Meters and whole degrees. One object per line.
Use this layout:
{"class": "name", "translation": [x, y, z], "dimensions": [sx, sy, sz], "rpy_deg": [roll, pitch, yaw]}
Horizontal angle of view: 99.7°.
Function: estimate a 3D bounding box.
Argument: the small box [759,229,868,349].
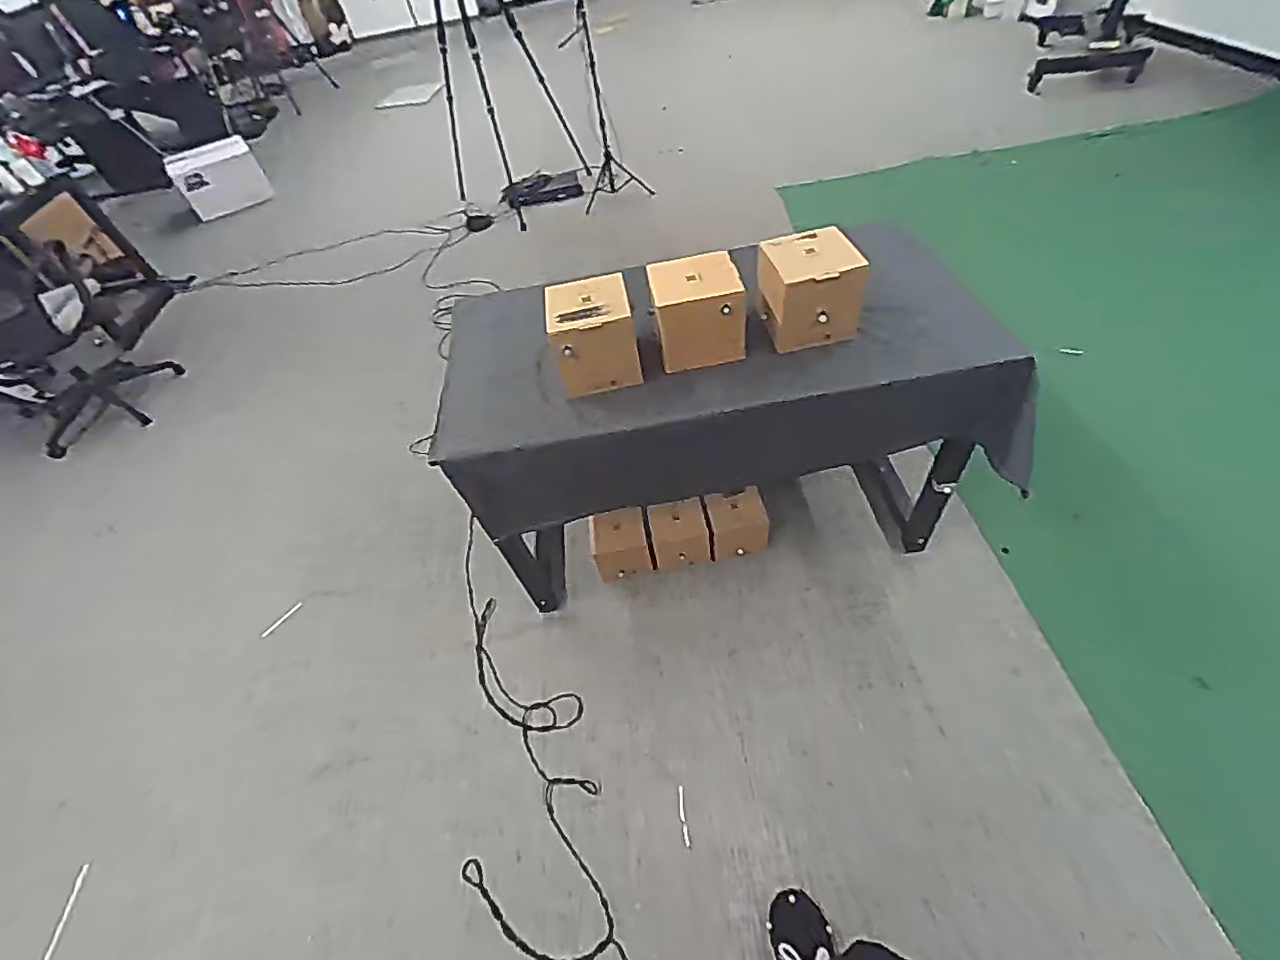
{"class": "small box", "translation": [0.355, -0.394, 1.140], "dimensions": [0.168, 0.176, 0.179], "rpy_deg": [-11, 50, 0]}
